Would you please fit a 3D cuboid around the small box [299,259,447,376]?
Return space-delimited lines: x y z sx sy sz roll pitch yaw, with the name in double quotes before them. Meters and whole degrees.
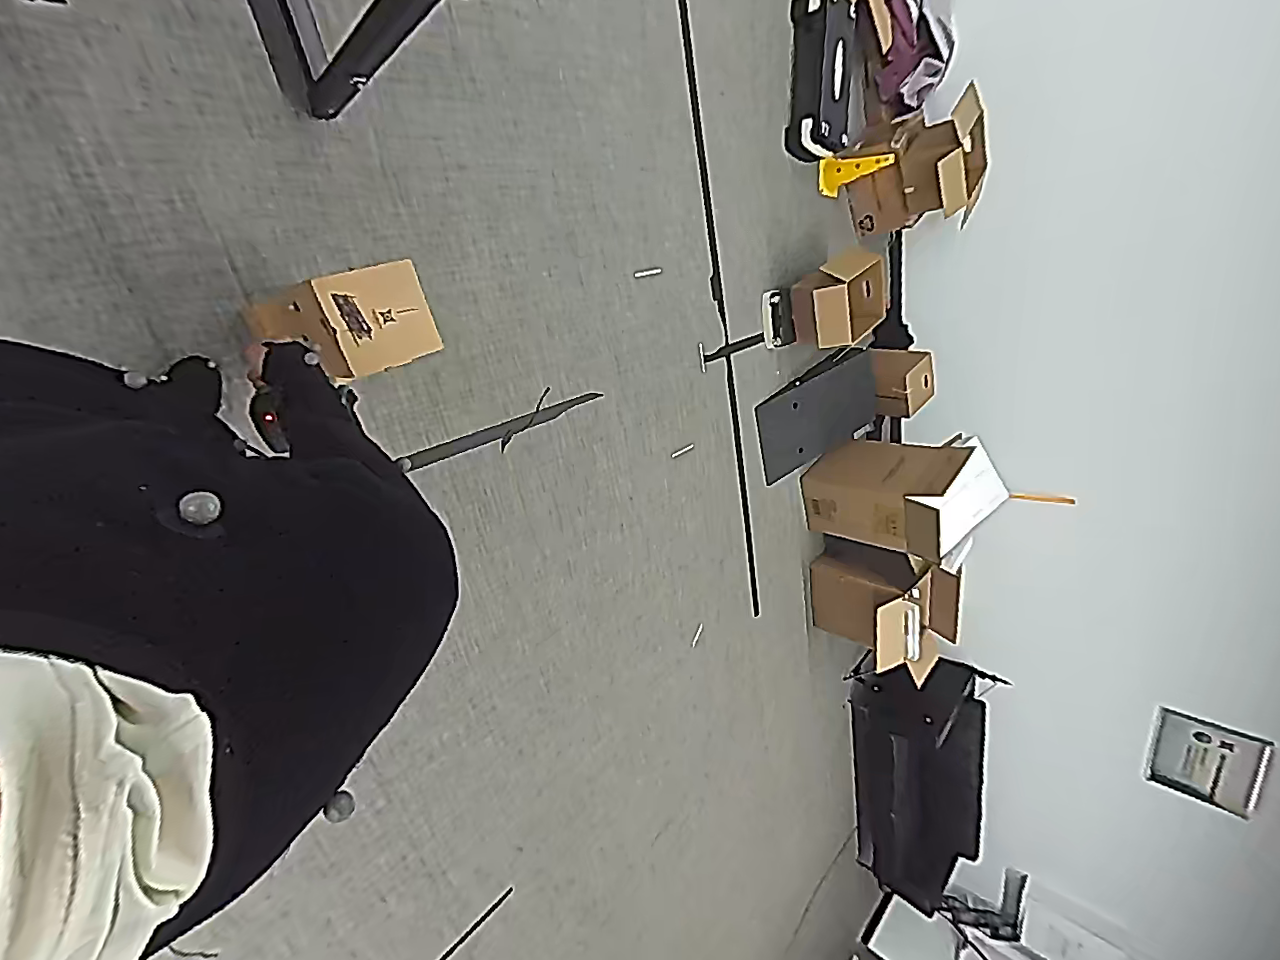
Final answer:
"small box" -0.494 -0.294 0.992 0.179 0.176 0.168 -33 120 -35

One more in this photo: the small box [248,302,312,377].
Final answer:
"small box" -0.831 -0.362 1.342 0.179 0.176 0.168 -30 119 -36

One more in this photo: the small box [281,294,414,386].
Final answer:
"small box" -0.602 -0.306 1.116 0.168 0.176 0.179 -32 120 -35
